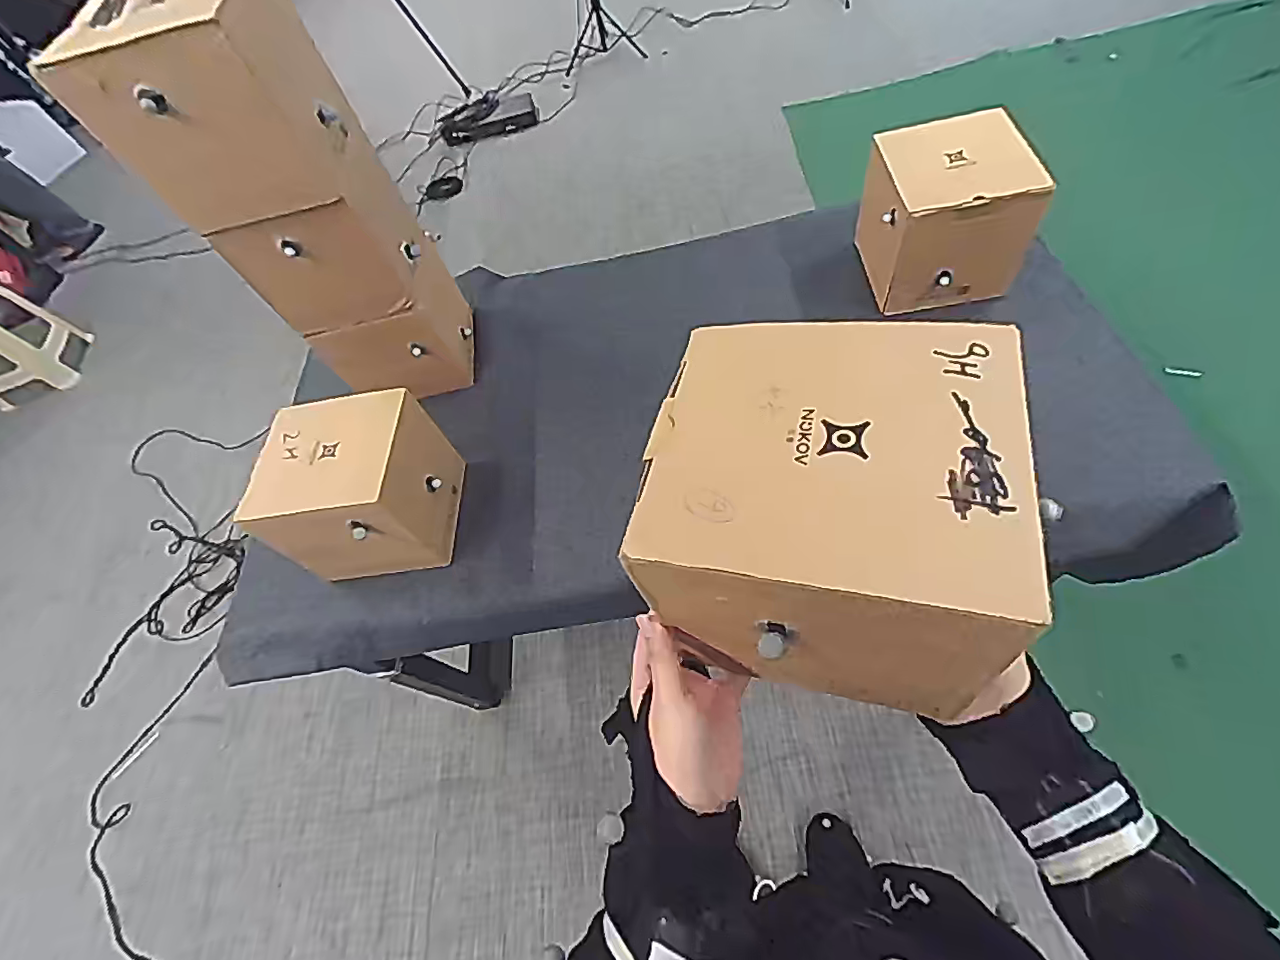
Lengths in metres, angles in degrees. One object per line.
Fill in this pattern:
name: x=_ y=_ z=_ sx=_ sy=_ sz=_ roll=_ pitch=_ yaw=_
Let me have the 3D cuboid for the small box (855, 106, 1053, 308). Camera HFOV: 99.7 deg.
small box: x=0.411 y=-0.370 z=0.748 sx=0.168 sy=0.176 sz=0.179 roll=-8 pitch=61 yaw=8

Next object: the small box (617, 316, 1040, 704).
small box: x=0.111 y=0.022 z=0.332 sx=0.179 sy=0.176 sz=0.168 roll=6 pitch=58 yaw=21

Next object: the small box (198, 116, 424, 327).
small box: x=-0.408 y=-0.325 z=0.704 sx=0.179 sy=0.176 sz=0.168 roll=-13 pitch=61 yaw=3

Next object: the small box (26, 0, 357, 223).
small box: x=-0.432 y=-0.397 z=0.558 sx=0.179 sy=0.176 sz=0.168 roll=-11 pitch=61 yaw=4

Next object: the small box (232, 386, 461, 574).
small box: x=-0.349 y=0.007 z=0.686 sx=0.179 sy=0.176 sz=0.168 roll=-8 pitch=56 yaw=7
